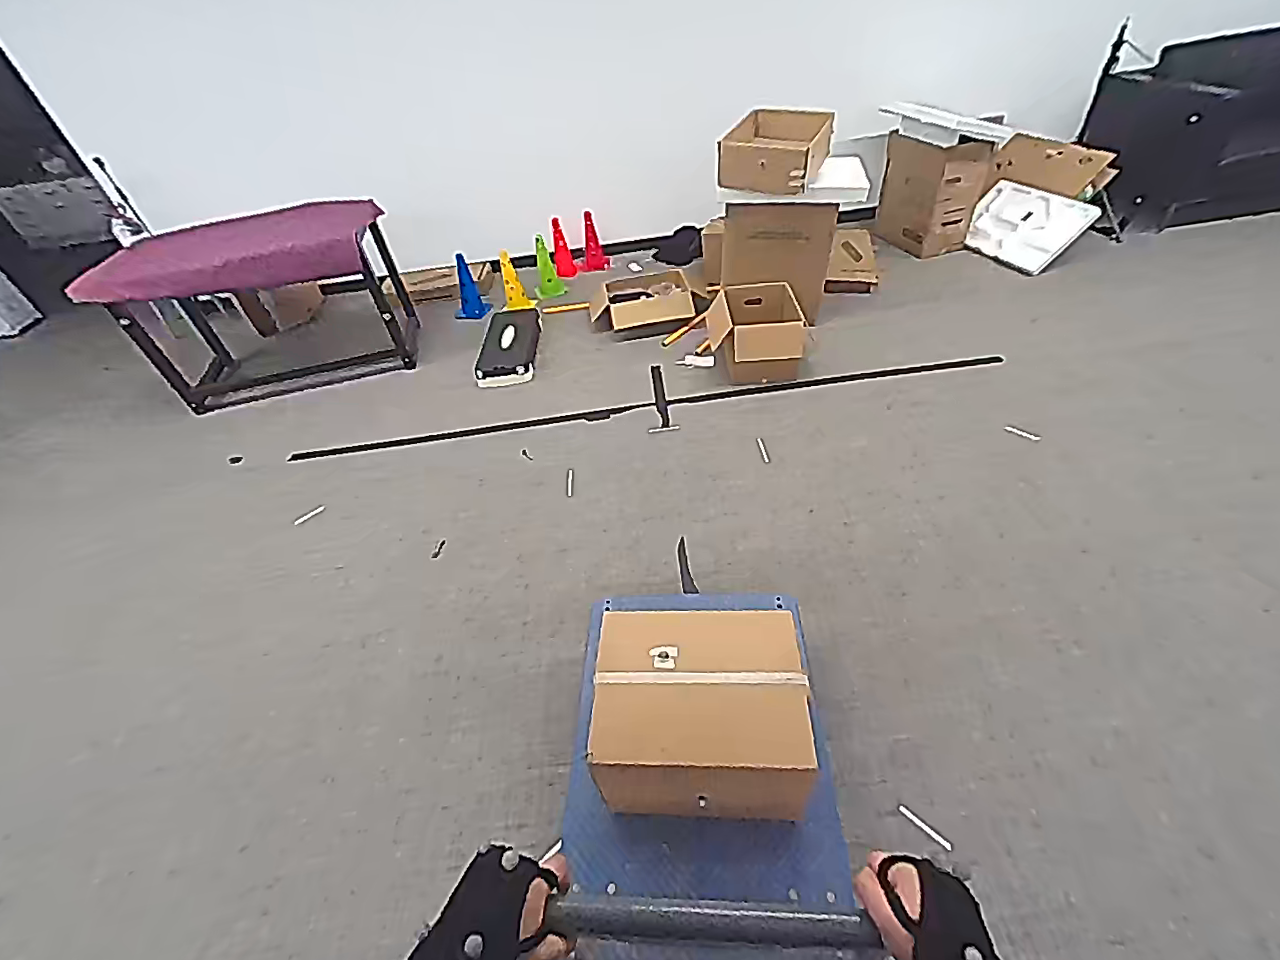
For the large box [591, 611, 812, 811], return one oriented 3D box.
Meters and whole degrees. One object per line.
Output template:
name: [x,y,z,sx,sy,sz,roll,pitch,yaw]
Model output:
large box: [0.130,0.505,1.173,0.408,0.320,0.320,-3,43,7]
